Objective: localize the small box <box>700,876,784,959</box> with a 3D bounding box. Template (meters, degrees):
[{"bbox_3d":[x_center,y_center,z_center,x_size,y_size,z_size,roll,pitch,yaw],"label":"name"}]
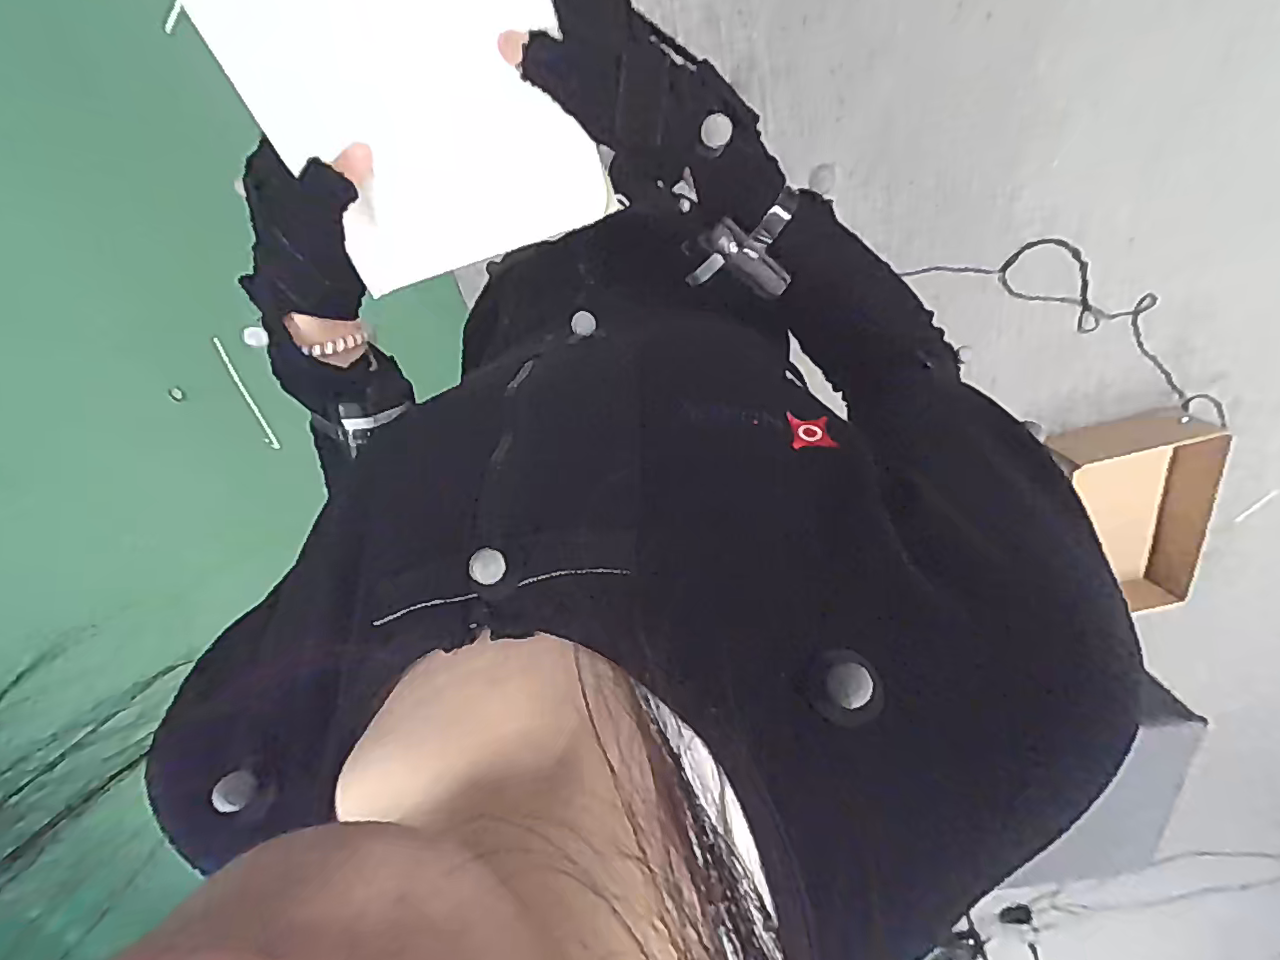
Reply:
[{"bbox_3d":[0.239,1.073,1.272,0.168,0.176,0.179,-9,118,2],"label":"small box"}]
